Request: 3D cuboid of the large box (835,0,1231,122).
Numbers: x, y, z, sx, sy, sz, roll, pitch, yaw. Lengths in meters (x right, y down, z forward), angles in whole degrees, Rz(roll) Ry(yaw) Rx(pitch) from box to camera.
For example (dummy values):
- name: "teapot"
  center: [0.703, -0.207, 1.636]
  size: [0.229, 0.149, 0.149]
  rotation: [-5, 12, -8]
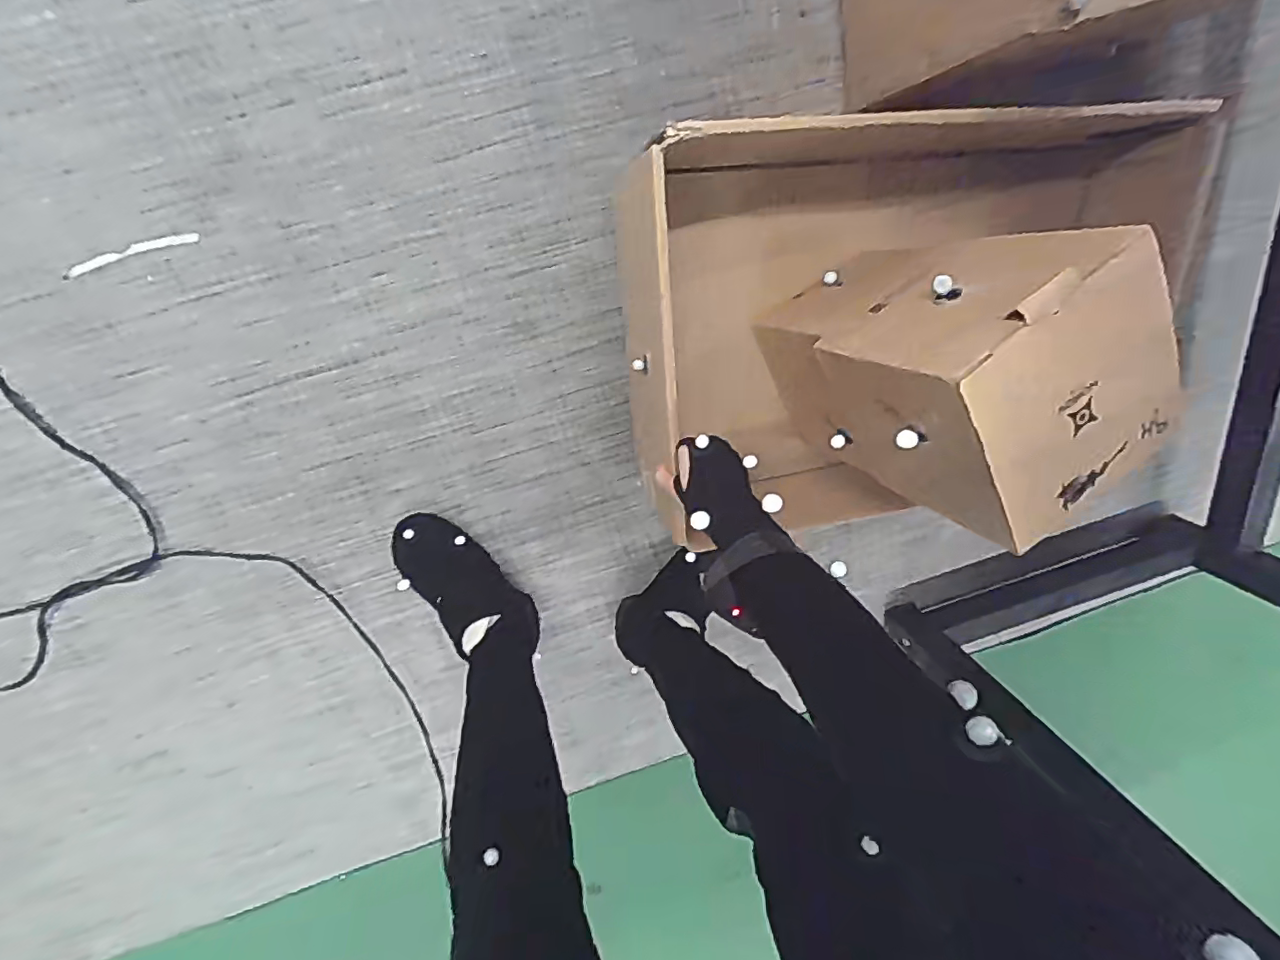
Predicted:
- name: "large box"
  center: [0.425, -0.572, 0.476]
  size: [0.408, 0.320, 0.320]
  rotation: [-17, 113, -2]
